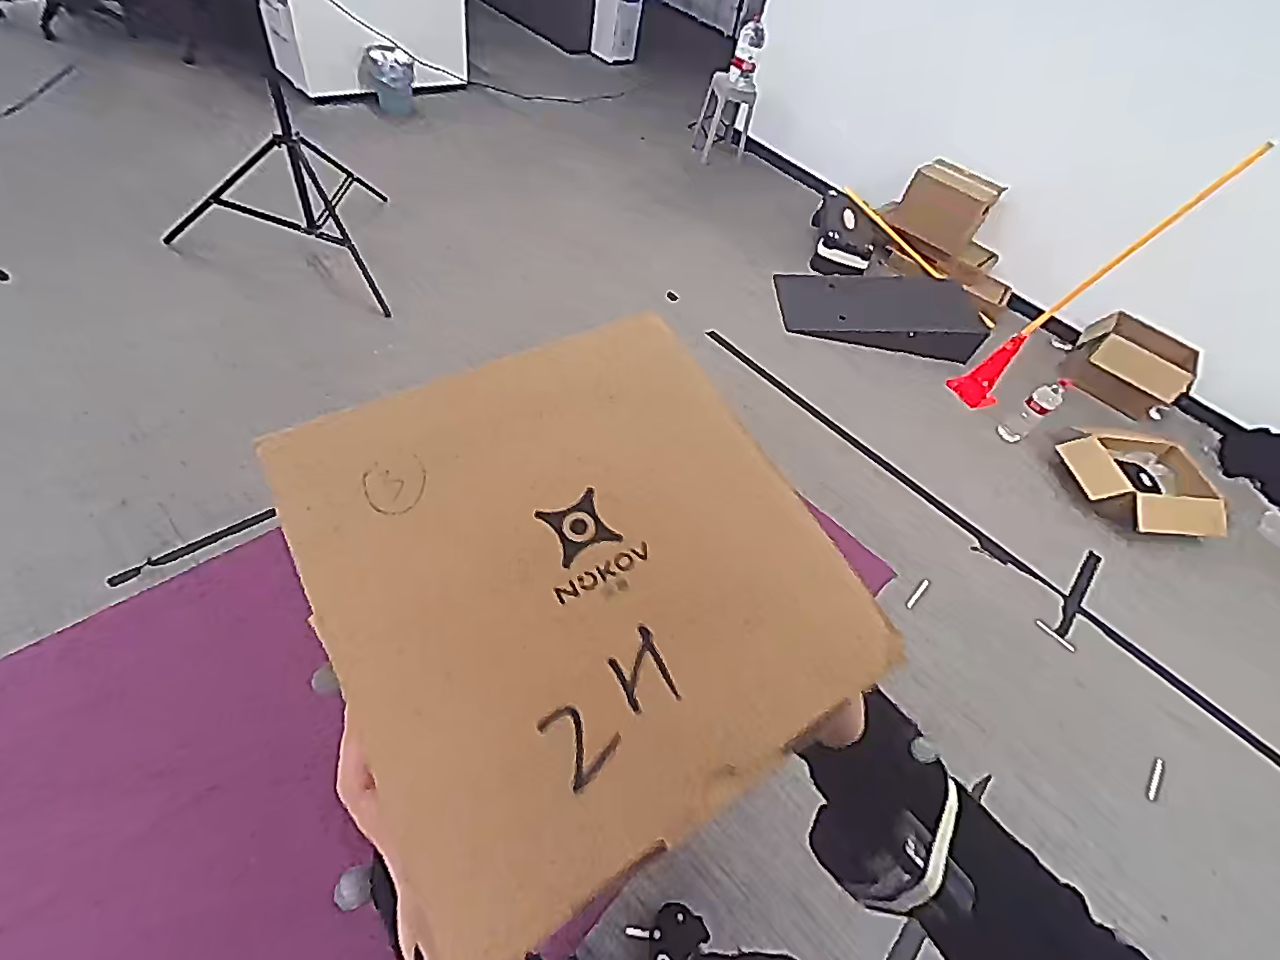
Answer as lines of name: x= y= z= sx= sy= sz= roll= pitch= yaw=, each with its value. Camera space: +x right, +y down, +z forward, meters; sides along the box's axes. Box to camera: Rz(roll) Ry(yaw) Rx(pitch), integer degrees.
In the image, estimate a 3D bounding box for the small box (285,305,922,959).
small box: x=-0.026 y=0.056 z=0.254 sx=0.168 sy=0.176 sz=0.179 roll=-24 pitch=71 yaw=-21
